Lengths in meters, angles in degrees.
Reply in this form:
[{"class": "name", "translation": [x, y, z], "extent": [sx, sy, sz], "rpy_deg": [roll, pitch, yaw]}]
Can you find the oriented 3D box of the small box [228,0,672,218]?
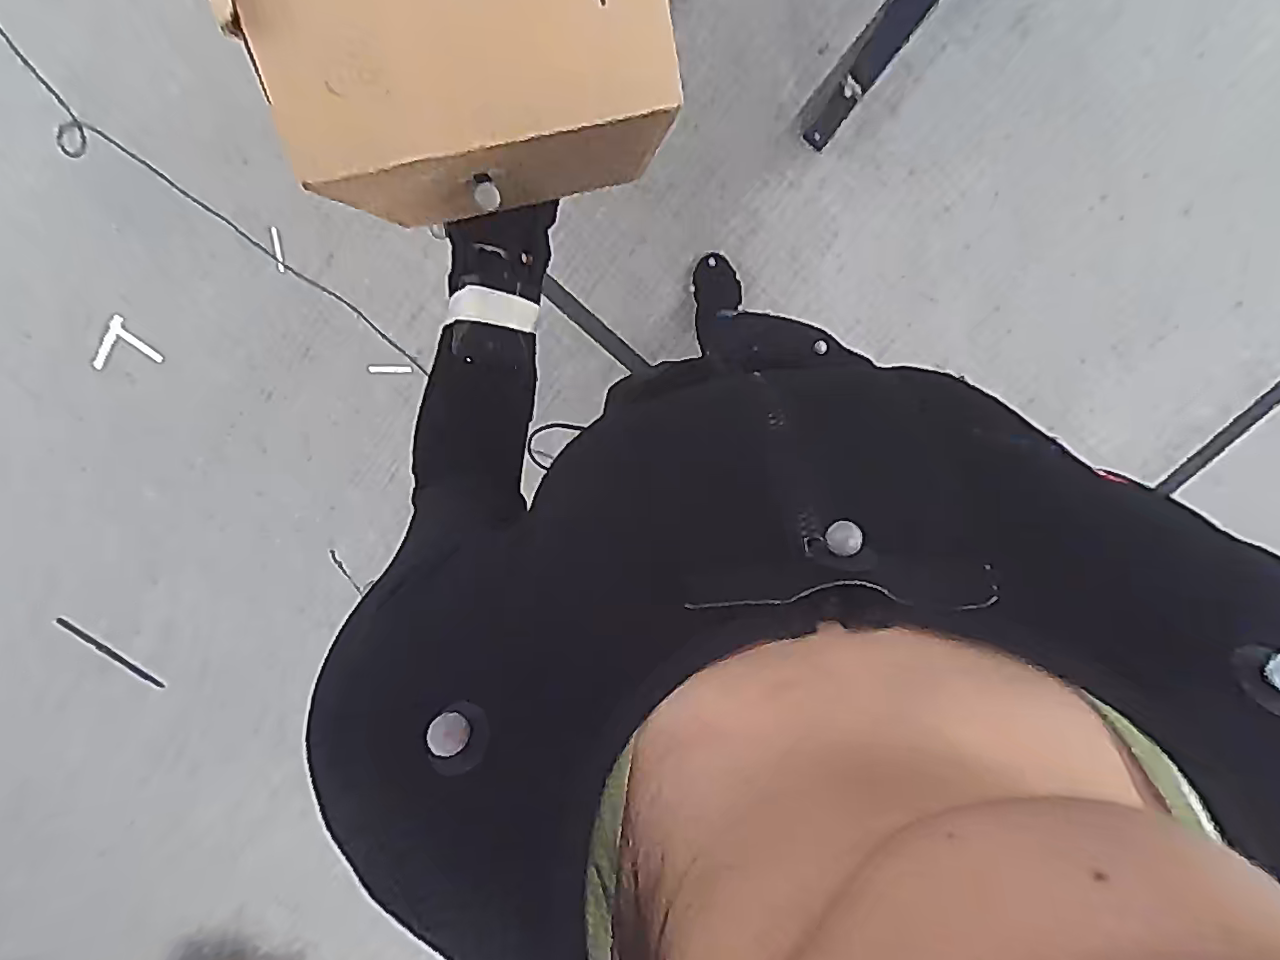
[{"class": "small box", "translation": [-0.094, -0.255, 0.288], "extent": [0.179, 0.176, 0.168], "rpy_deg": [-16, 110, -1]}]
